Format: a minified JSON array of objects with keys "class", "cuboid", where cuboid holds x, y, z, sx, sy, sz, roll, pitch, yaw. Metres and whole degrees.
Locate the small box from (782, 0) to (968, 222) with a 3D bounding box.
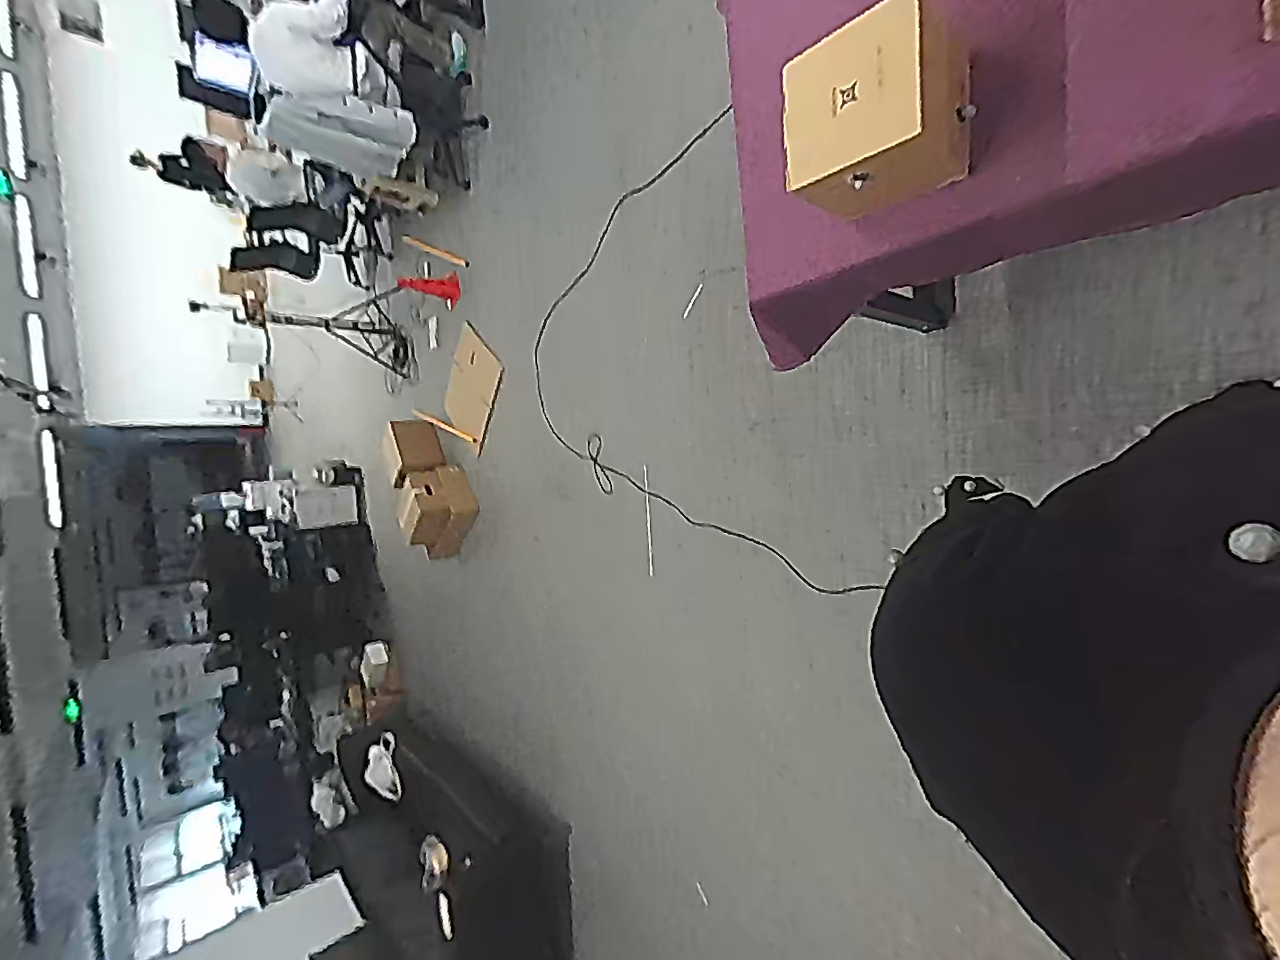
[{"class":"small box","cuboid":[0.311,-0.469,0.721,0.179,0.176,0.168,1,95,48]}]
